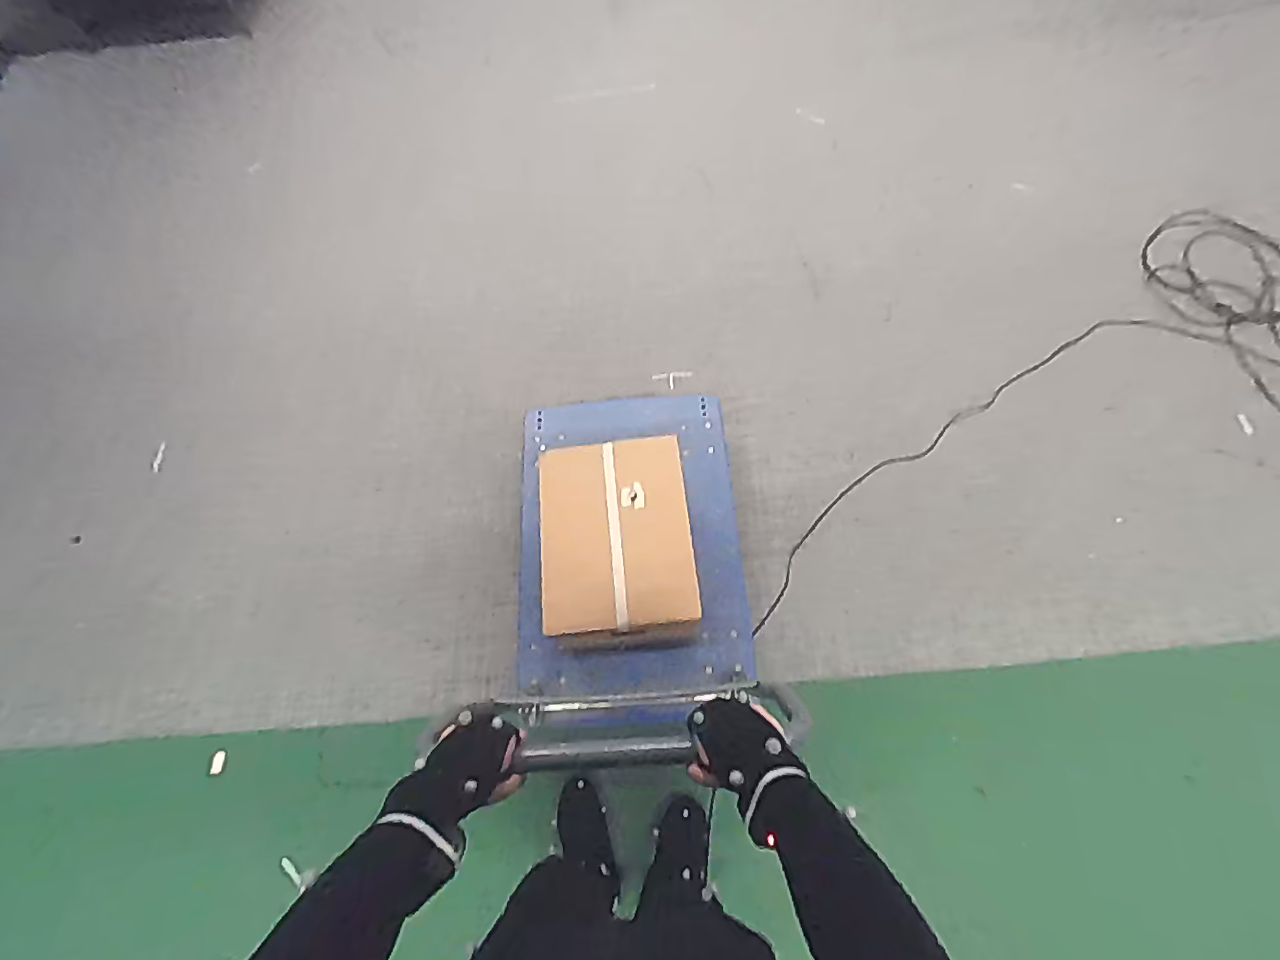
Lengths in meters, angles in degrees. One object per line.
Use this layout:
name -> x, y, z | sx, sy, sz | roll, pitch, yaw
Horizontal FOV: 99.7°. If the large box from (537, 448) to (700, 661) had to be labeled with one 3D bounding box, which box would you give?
large box -> -0.046, 0.186, 1.266 | 0.320, 0.320, 0.408 | -7, 66, 1
